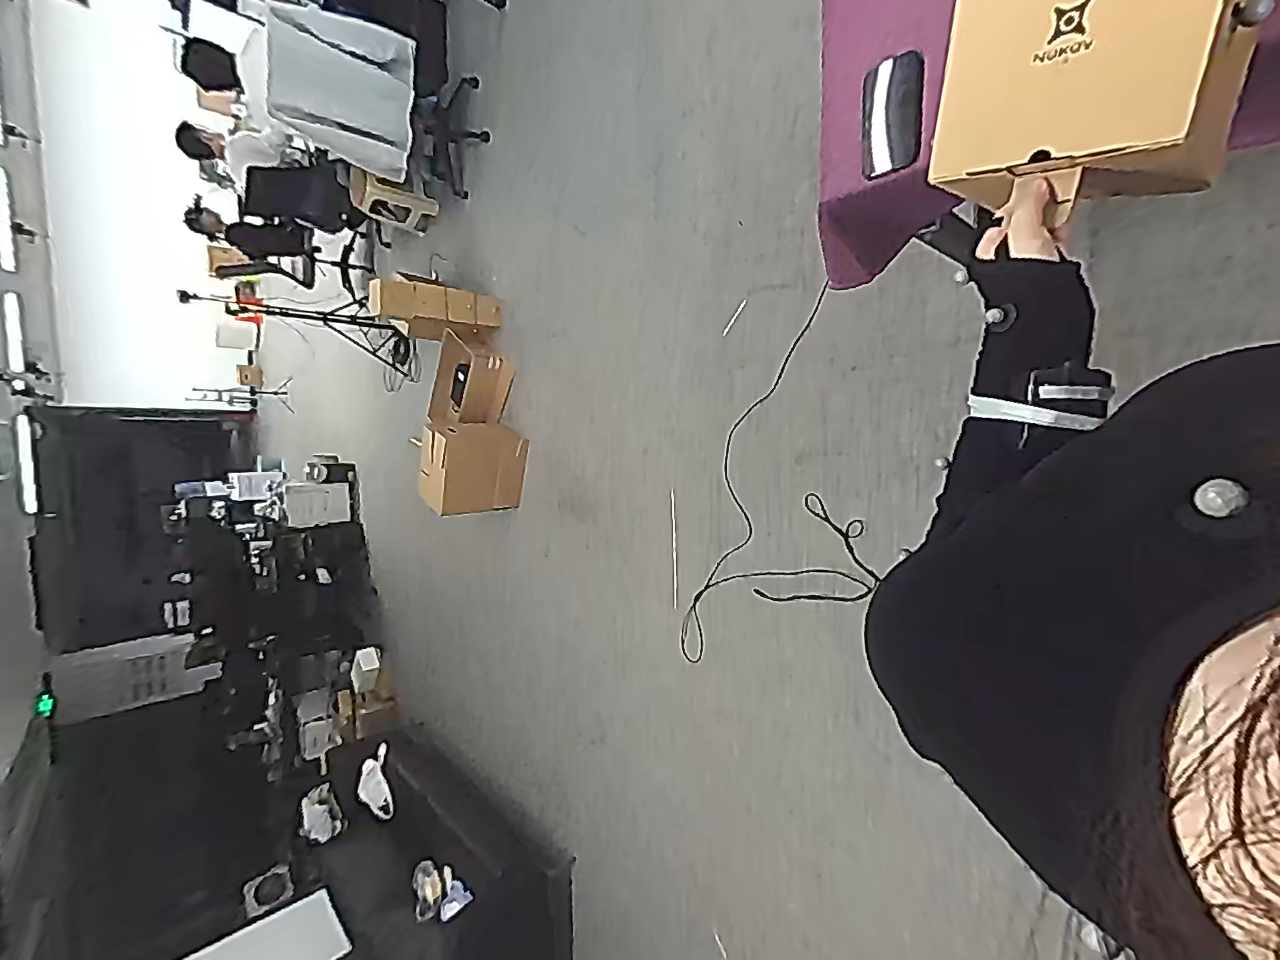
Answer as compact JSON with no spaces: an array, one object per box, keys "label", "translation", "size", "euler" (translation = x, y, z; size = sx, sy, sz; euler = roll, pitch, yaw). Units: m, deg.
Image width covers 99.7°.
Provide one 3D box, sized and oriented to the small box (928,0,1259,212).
[{"label":"small box","translation":[0.368,-0.335,0.443],"size":[0.168,0.176,0.179],"euler":[20,115,45]}]
